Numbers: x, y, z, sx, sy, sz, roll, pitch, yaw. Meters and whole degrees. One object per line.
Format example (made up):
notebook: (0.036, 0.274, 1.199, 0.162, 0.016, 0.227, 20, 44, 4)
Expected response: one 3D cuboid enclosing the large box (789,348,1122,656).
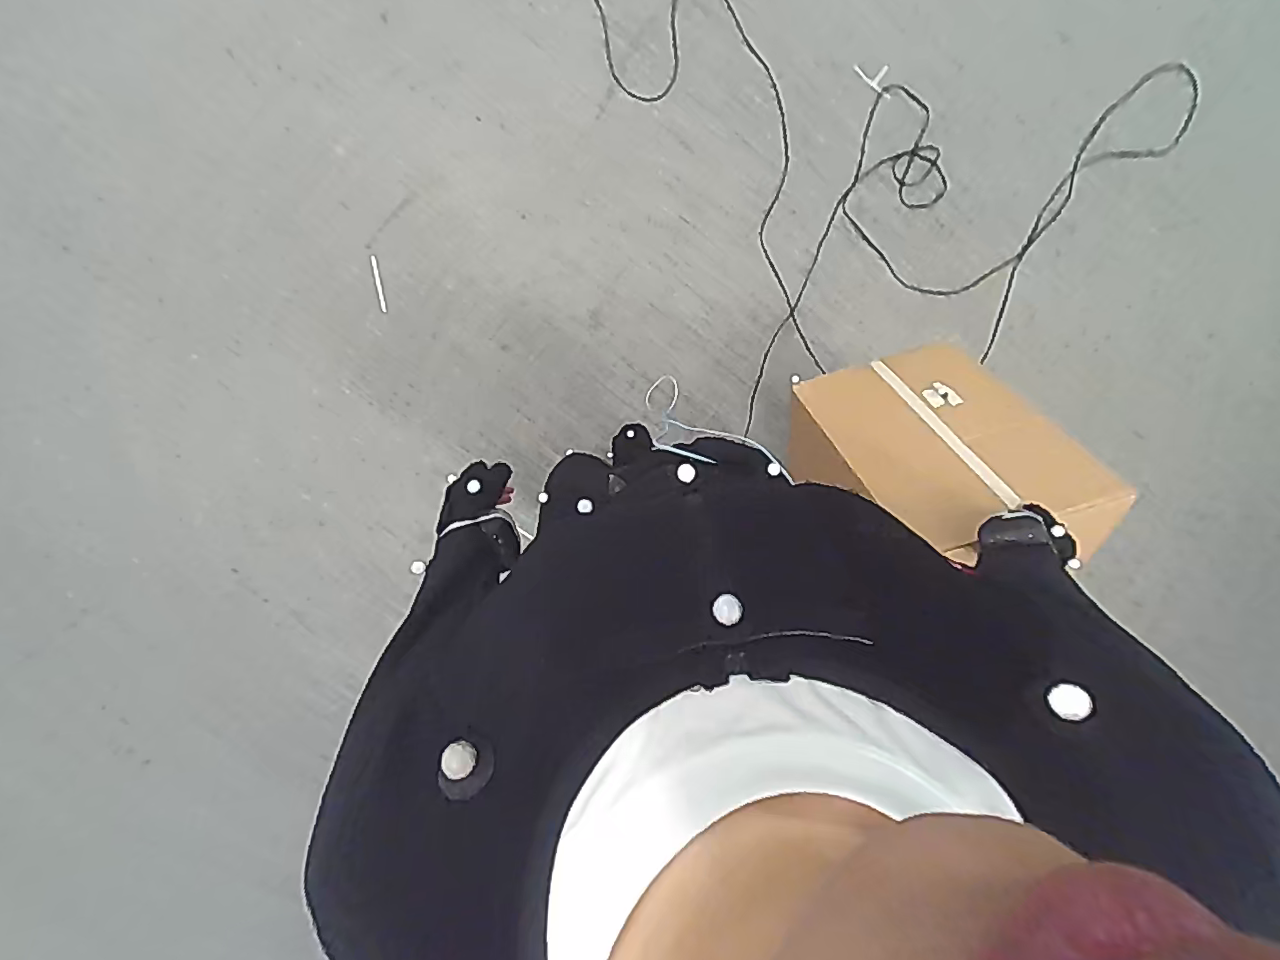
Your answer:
large box: (0.494, 0.032, 0.969, 0.320, 0.408, 0.320, -16, 136, -3)
